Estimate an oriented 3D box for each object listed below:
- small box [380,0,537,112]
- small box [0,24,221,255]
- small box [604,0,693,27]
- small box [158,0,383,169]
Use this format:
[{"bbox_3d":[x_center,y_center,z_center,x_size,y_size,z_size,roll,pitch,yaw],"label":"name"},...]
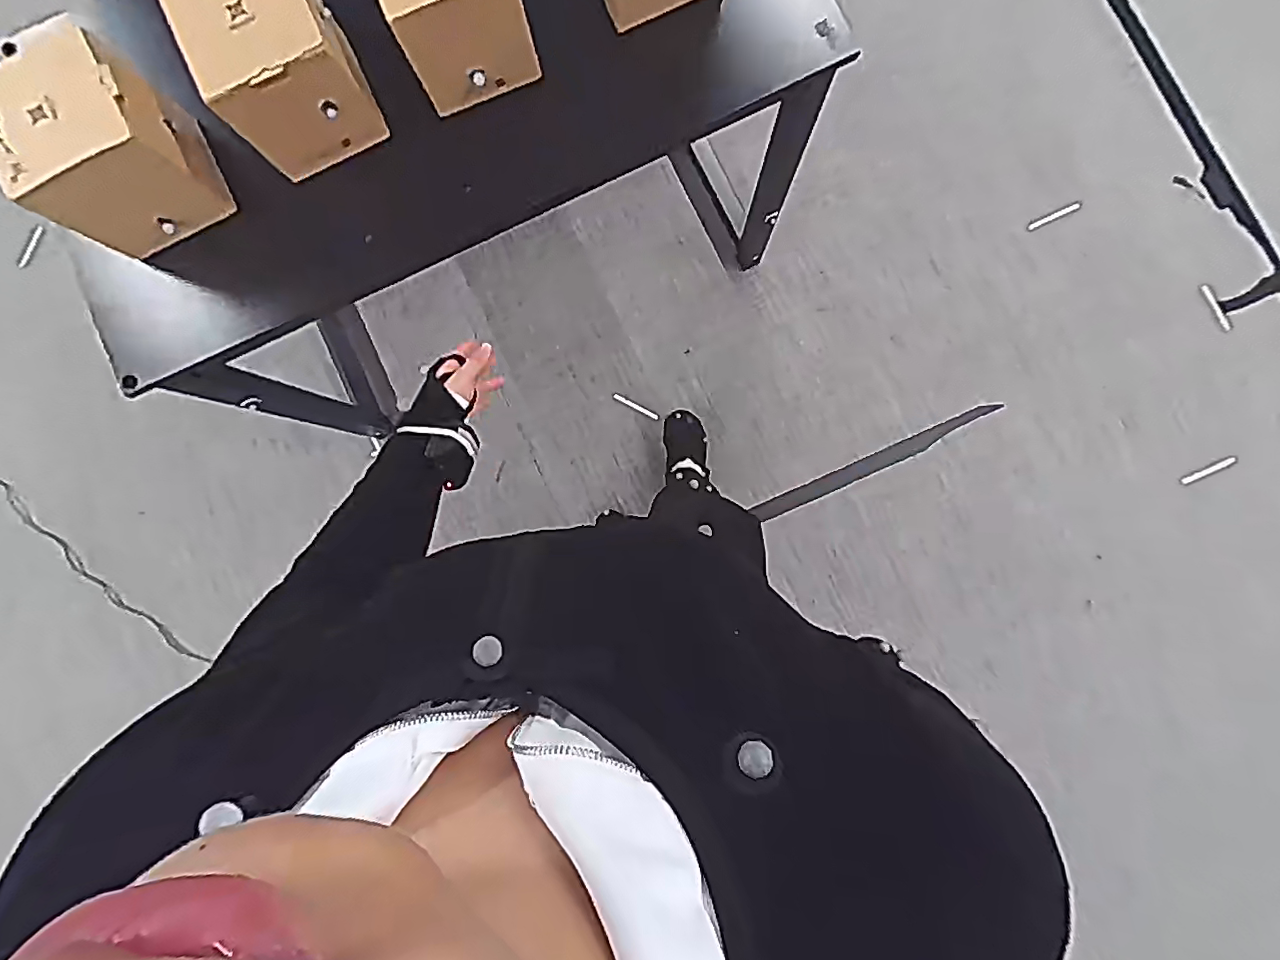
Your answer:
[{"bbox_3d":[-0.257,-0.657,0.733,0.168,0.176,0.179,-21,87,1],"label":"small box"},{"bbox_3d":[-0.723,-0.446,0.735,0.179,0.176,0.168,-27,86,-1],"label":"small box"},{"bbox_3d":[0.009,-0.777,0.731,0.179,0.176,0.168,-23,87,1],"label":"small box"},{"bbox_3d":[-0.488,-0.564,0.737,0.168,0.176,0.179,-26,86,0],"label":"small box"}]
